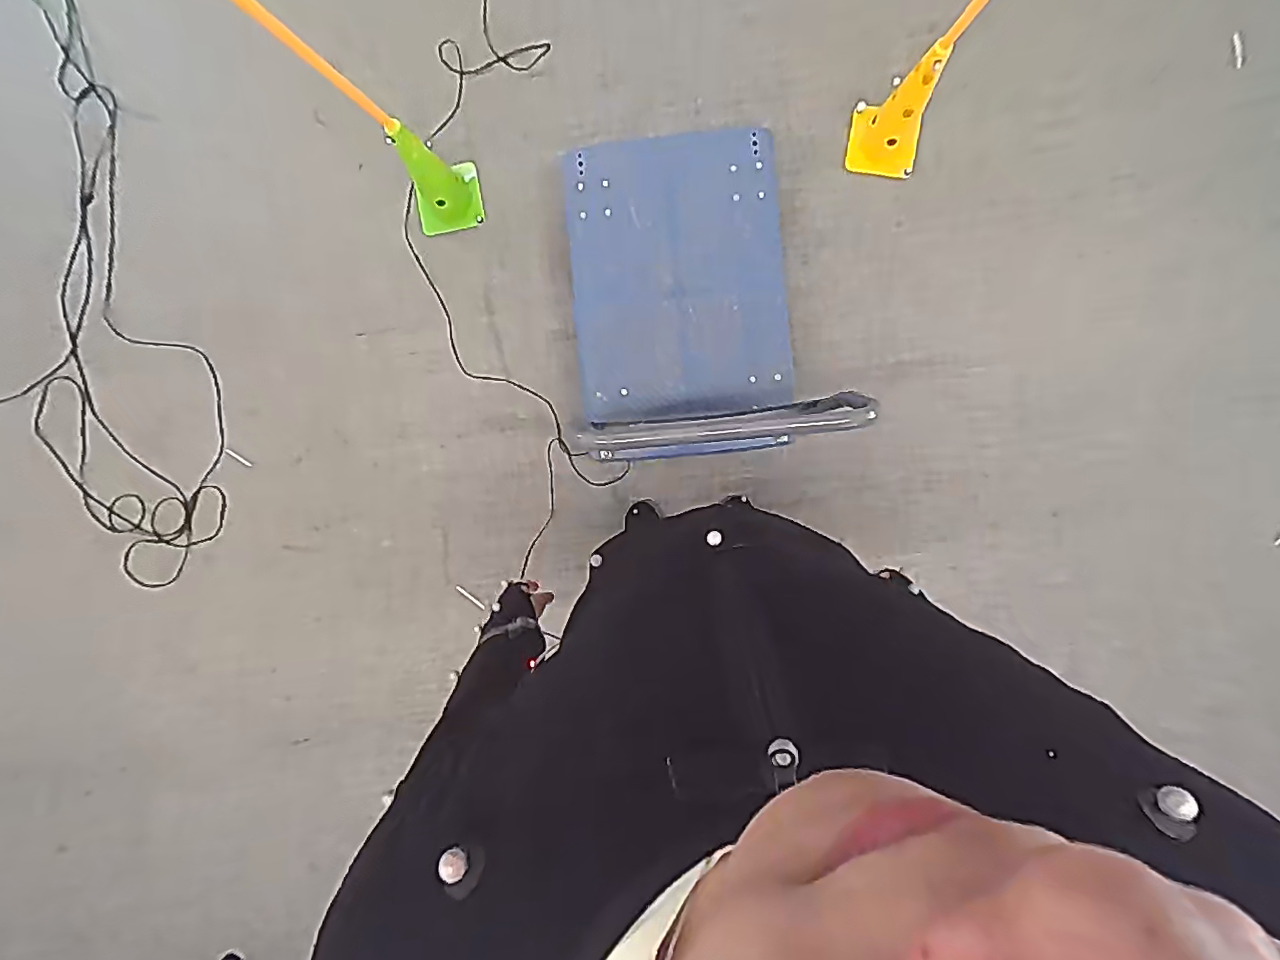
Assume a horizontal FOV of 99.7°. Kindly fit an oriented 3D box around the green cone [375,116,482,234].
[{"bbox_3d":[-0.609,-0.875,1.495,0.202,0.368,0.200,-11,89,4],"label":"green cone"}]
